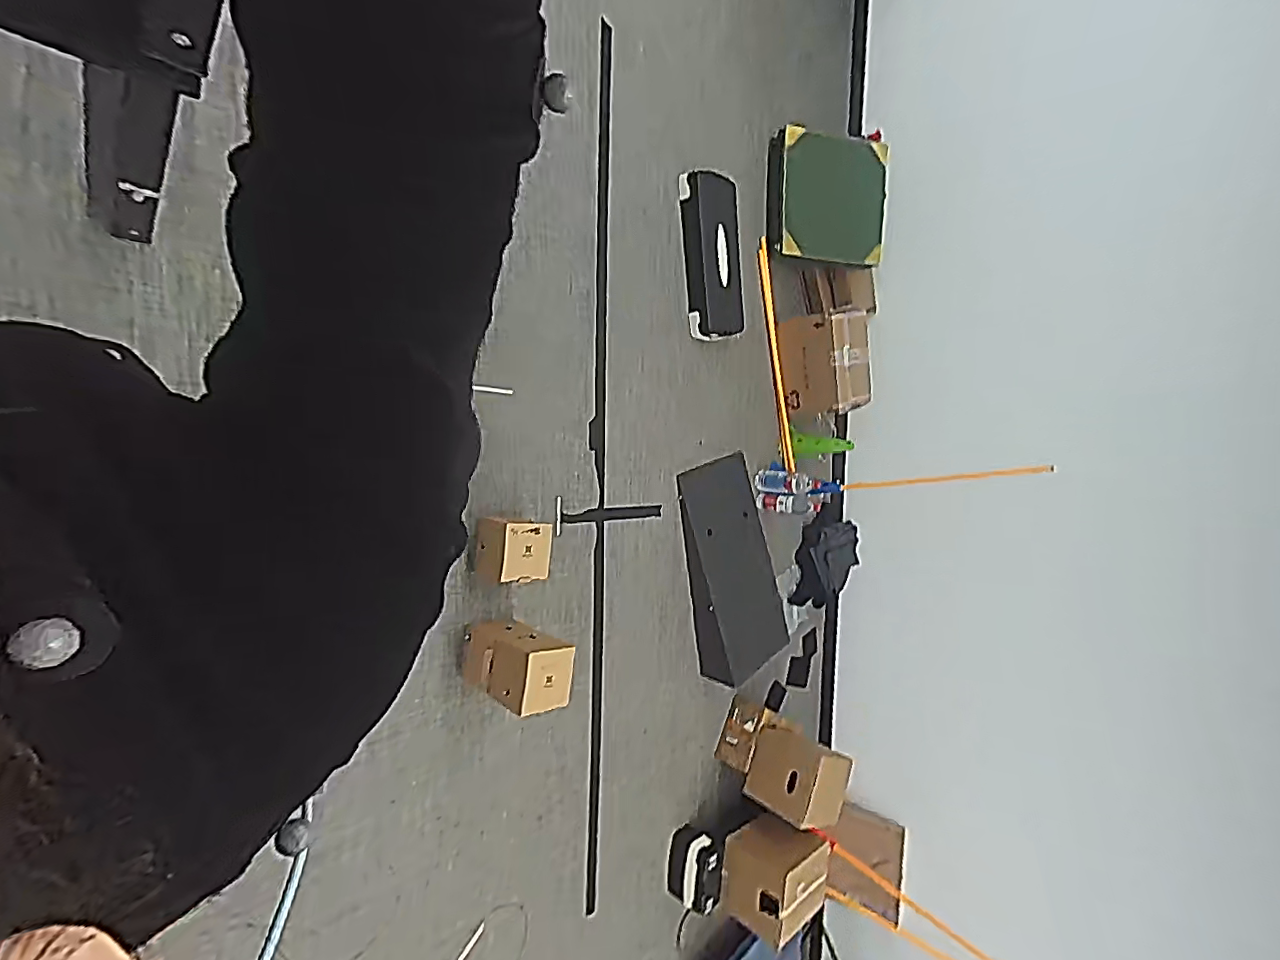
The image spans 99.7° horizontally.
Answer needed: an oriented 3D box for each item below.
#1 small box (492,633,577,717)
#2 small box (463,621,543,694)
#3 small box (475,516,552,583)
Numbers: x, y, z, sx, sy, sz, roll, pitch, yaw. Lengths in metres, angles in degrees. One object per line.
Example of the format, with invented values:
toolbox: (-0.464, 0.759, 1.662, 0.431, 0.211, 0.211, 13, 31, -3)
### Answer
small box: (-0.309, 0.557, 1.566, 0.168, 0.176, 0.179, 9, 87, -46)
small box: (-0.428, 0.543, 1.677, 0.179, 0.176, 0.168, 7, 89, -46)
small box: (-0.395, 0.212, 1.677, 0.168, 0.176, 0.179, 6, 90, -45)
